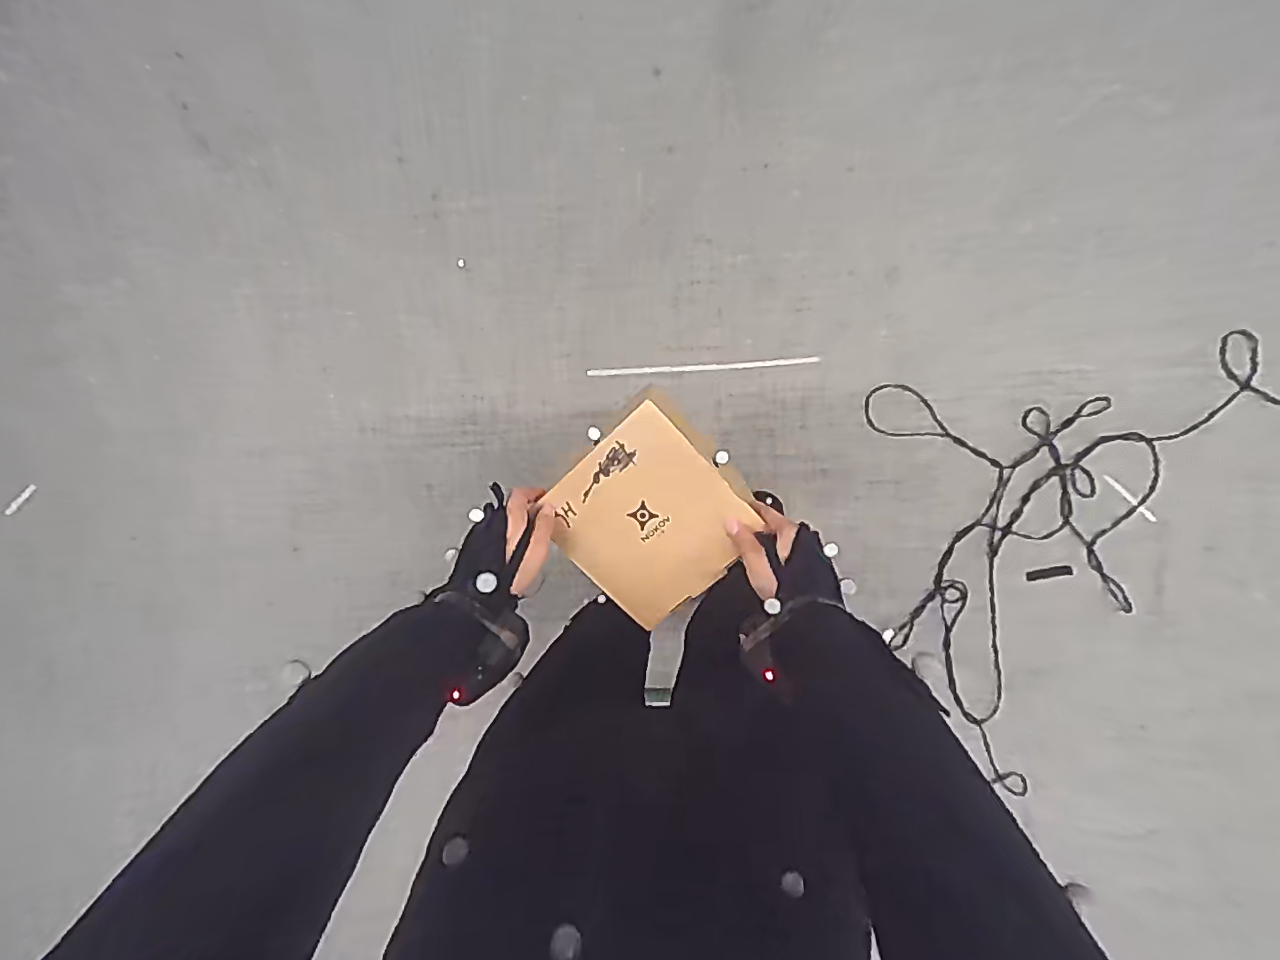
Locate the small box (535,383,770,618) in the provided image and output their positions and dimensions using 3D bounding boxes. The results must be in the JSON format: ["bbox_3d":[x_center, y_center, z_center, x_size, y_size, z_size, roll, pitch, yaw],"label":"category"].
[{"bbox_3d":[0.016,0.010,0.606,0.168,0.176,0.179,-42,101,12],"label":"small box"}]
